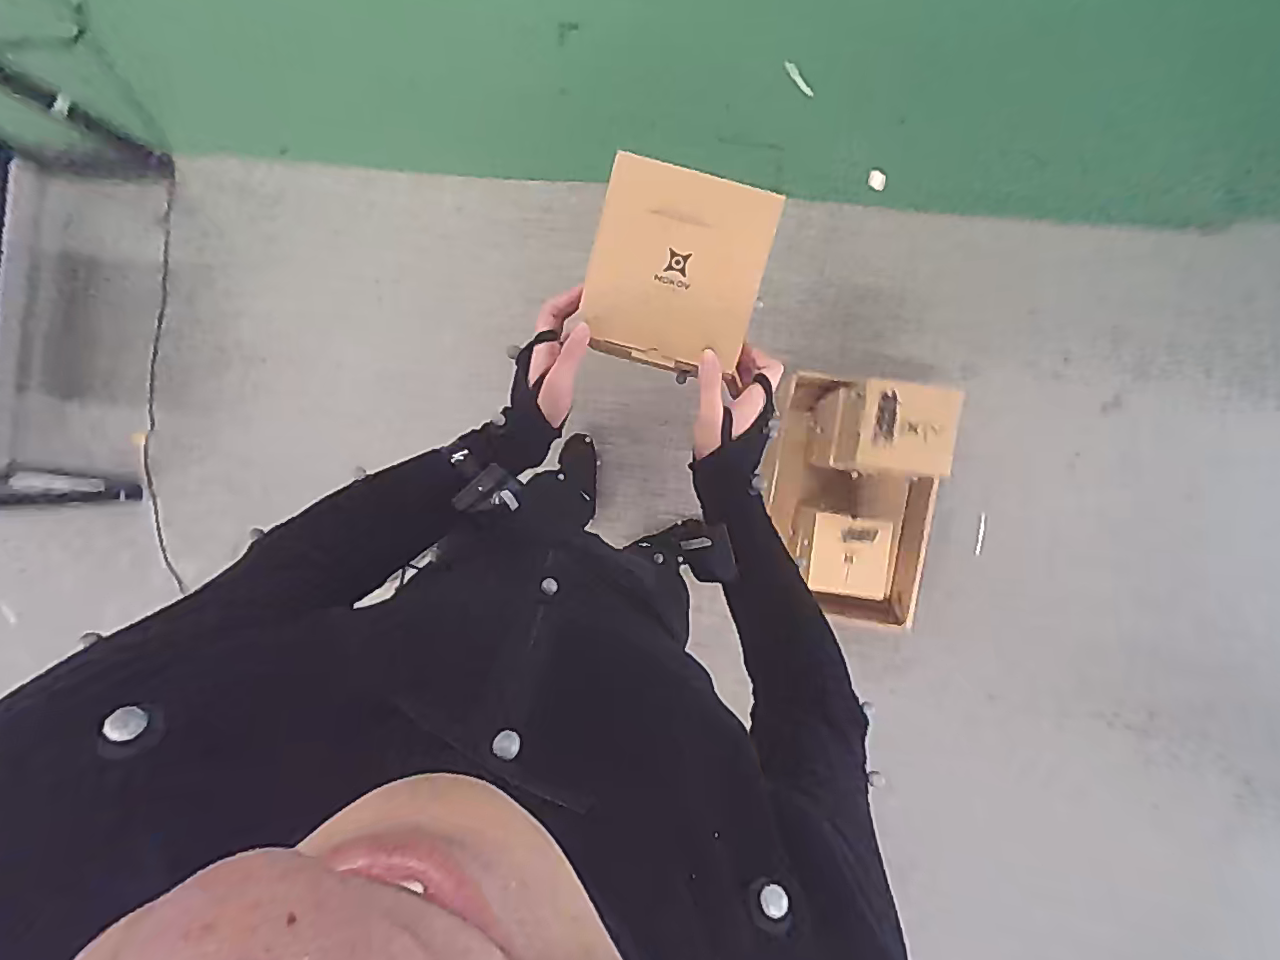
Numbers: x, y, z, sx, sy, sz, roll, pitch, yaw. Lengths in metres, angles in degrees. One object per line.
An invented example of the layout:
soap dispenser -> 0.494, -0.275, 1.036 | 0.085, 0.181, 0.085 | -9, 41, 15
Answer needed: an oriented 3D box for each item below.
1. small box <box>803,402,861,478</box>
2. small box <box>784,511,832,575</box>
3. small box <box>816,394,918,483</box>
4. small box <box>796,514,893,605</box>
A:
small box -> 0.540, -0.098, 1.420 | 0.179, 0.176, 0.168 | 11, 92, 5
small box -> 0.490, 0.178, 1.429 | 0.179, 0.176, 0.168 | 12, 92, 7
small box -> 0.517, -0.095, 1.258 | 0.168, 0.176, 0.179 | 9, 93, 6
small box -> 0.469, 0.177, 1.264 | 0.168, 0.176, 0.179 | 8, 91, 8
